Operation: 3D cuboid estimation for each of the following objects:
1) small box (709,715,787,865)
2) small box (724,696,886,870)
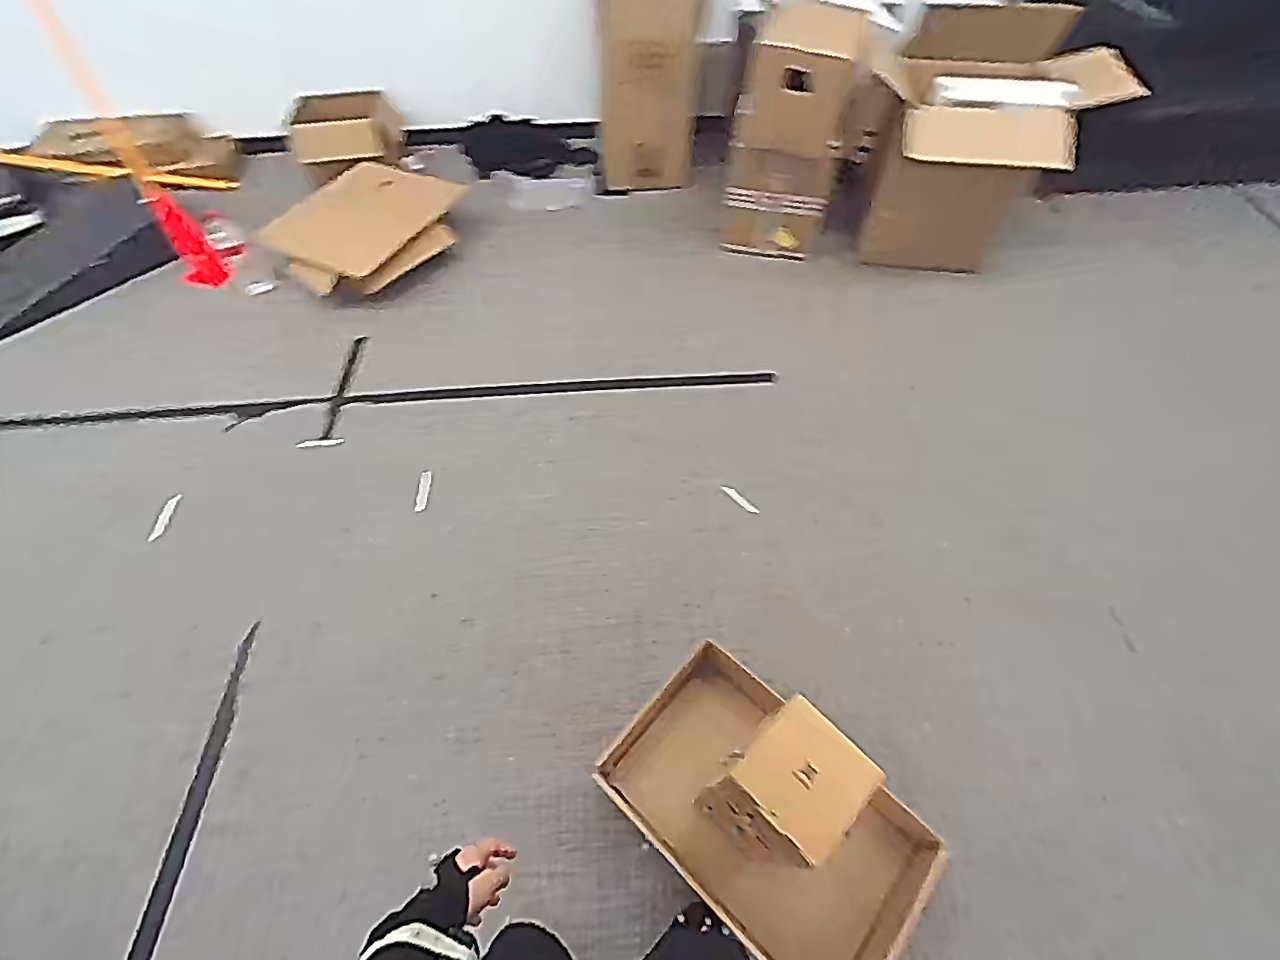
[{"bbox_3d":[0.246,0.584,1.020,0.179,0.176,0.168,-38,64,-22],"label":"small box"},{"bbox_3d":[0.256,0.492,0.885,0.179,0.176,0.168,-38,64,-23],"label":"small box"}]
